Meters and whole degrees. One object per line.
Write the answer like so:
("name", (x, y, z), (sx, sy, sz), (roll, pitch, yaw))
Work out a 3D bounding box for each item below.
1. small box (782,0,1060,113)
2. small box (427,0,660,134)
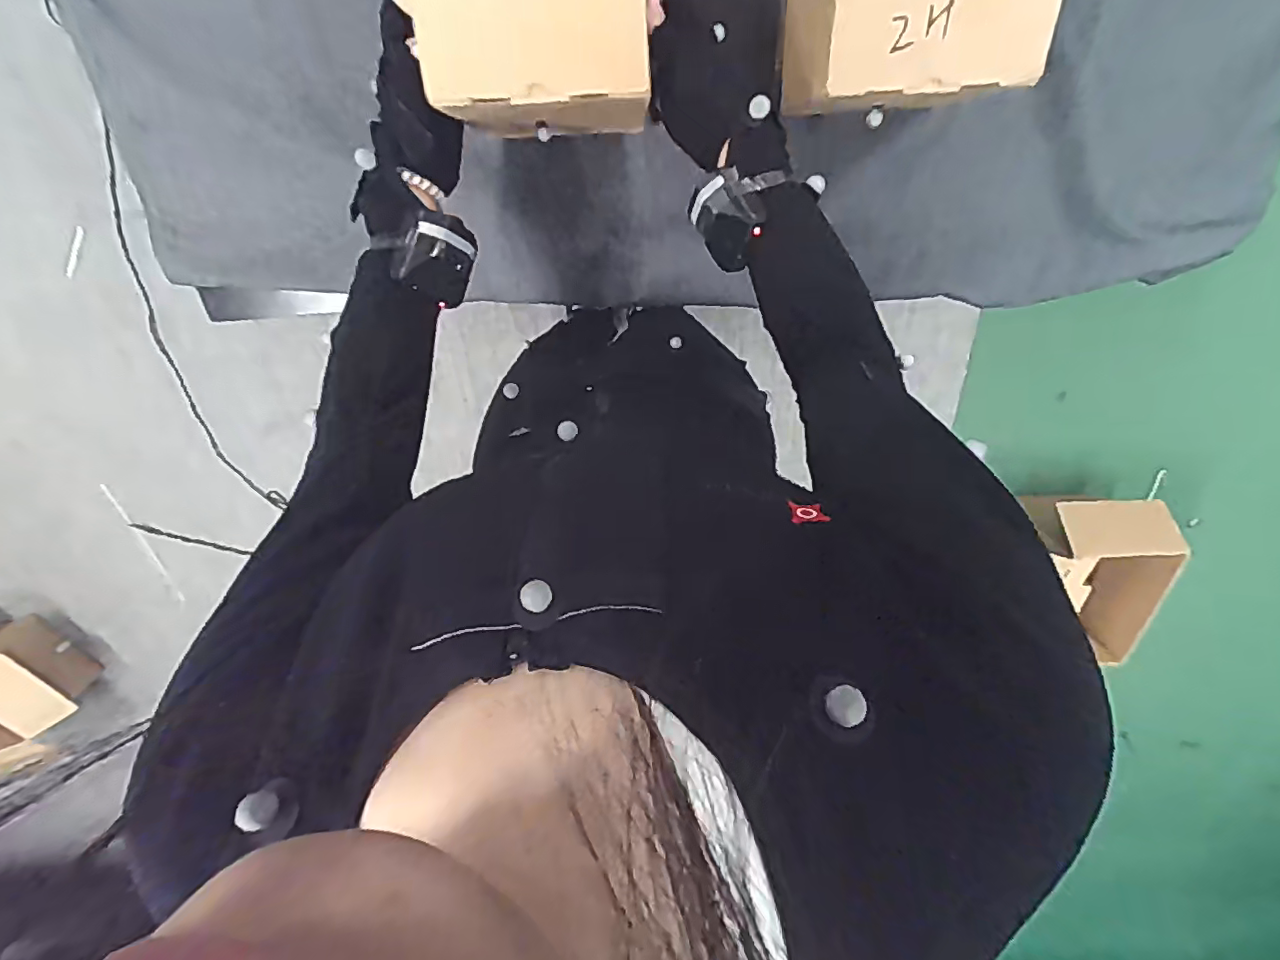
("small box", (0.223, -0.420, 0.448), (0.168, 0.176, 0.179), (-2, 121, 1))
("small box", (-0.075, -0.399, 0.441), (0.168, 0.176, 0.179), (-4, 117, -1))
